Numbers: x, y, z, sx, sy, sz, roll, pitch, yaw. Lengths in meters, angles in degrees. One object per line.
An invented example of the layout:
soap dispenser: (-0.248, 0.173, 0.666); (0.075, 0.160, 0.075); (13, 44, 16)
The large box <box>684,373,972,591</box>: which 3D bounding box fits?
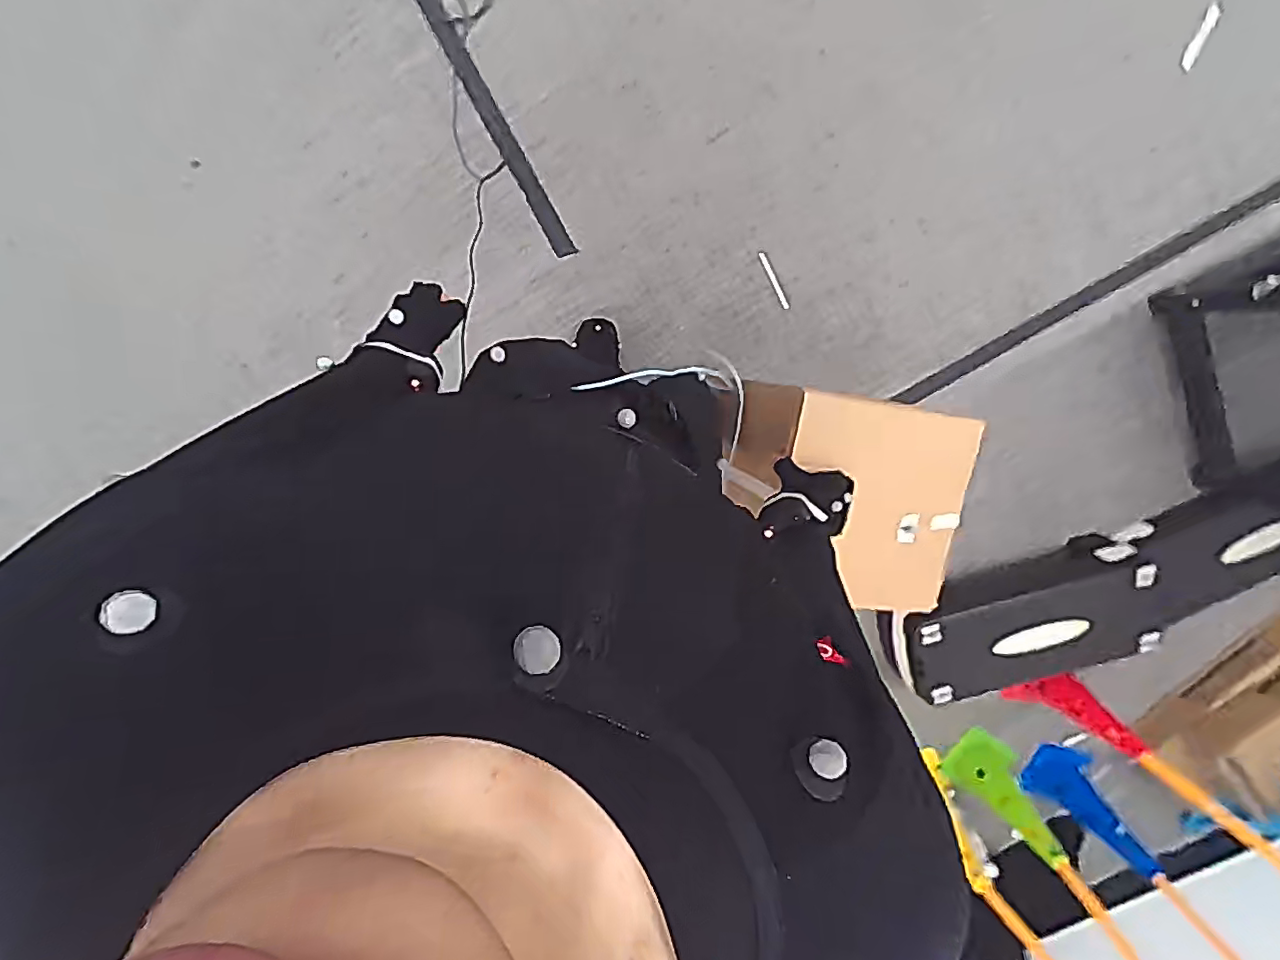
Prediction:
large box: (0.300, -0.017, 0.989); (0.320, 0.408, 0.320); (6, 103, -14)
